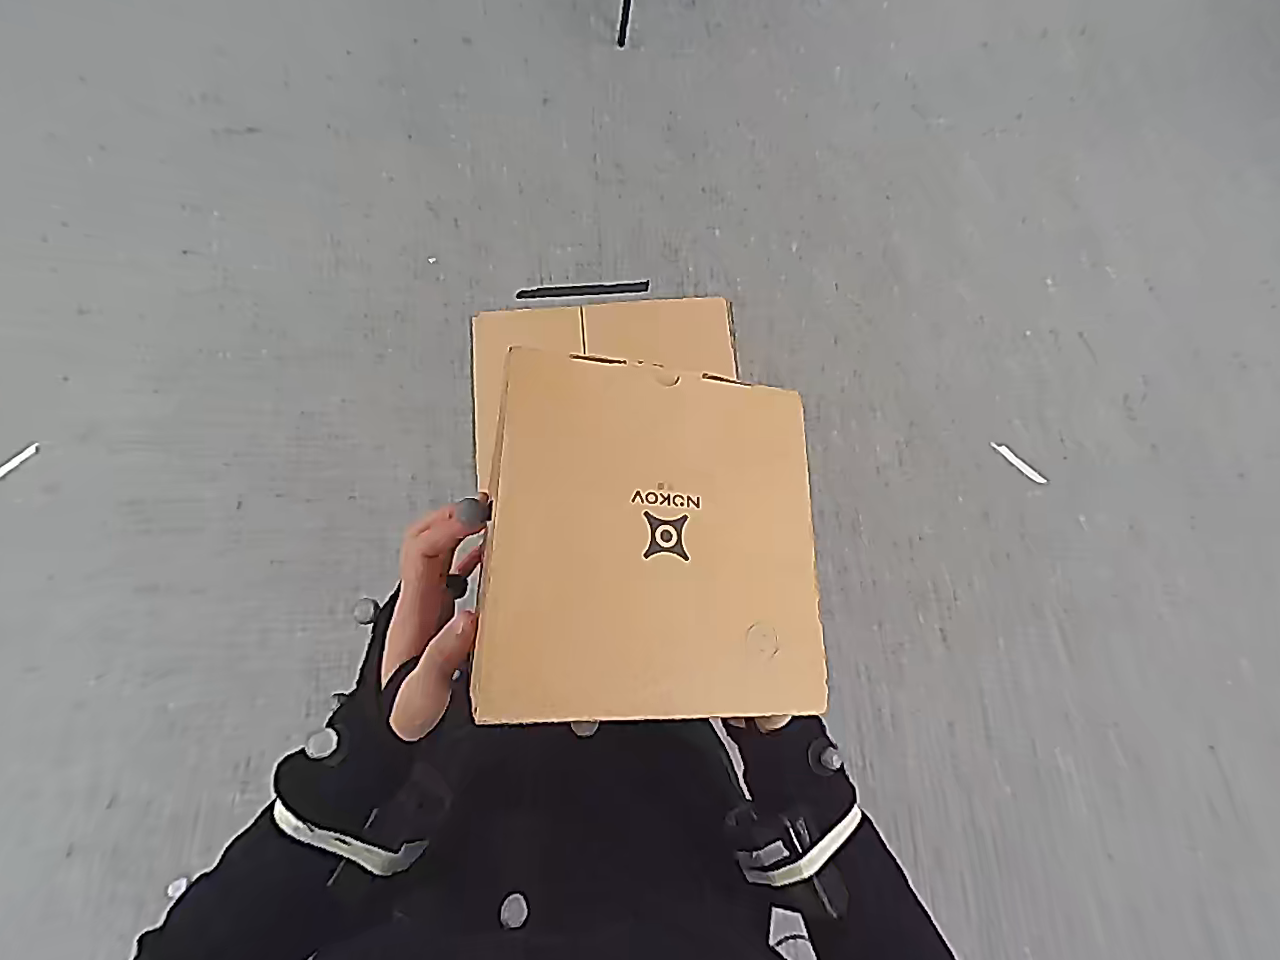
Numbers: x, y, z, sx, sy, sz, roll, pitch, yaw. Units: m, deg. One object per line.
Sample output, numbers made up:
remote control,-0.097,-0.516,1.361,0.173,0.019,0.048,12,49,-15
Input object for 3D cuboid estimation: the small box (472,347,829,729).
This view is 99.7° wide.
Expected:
small box,-0.009,0.047,0.335,0.168,0.176,0.179,6,71,-16
